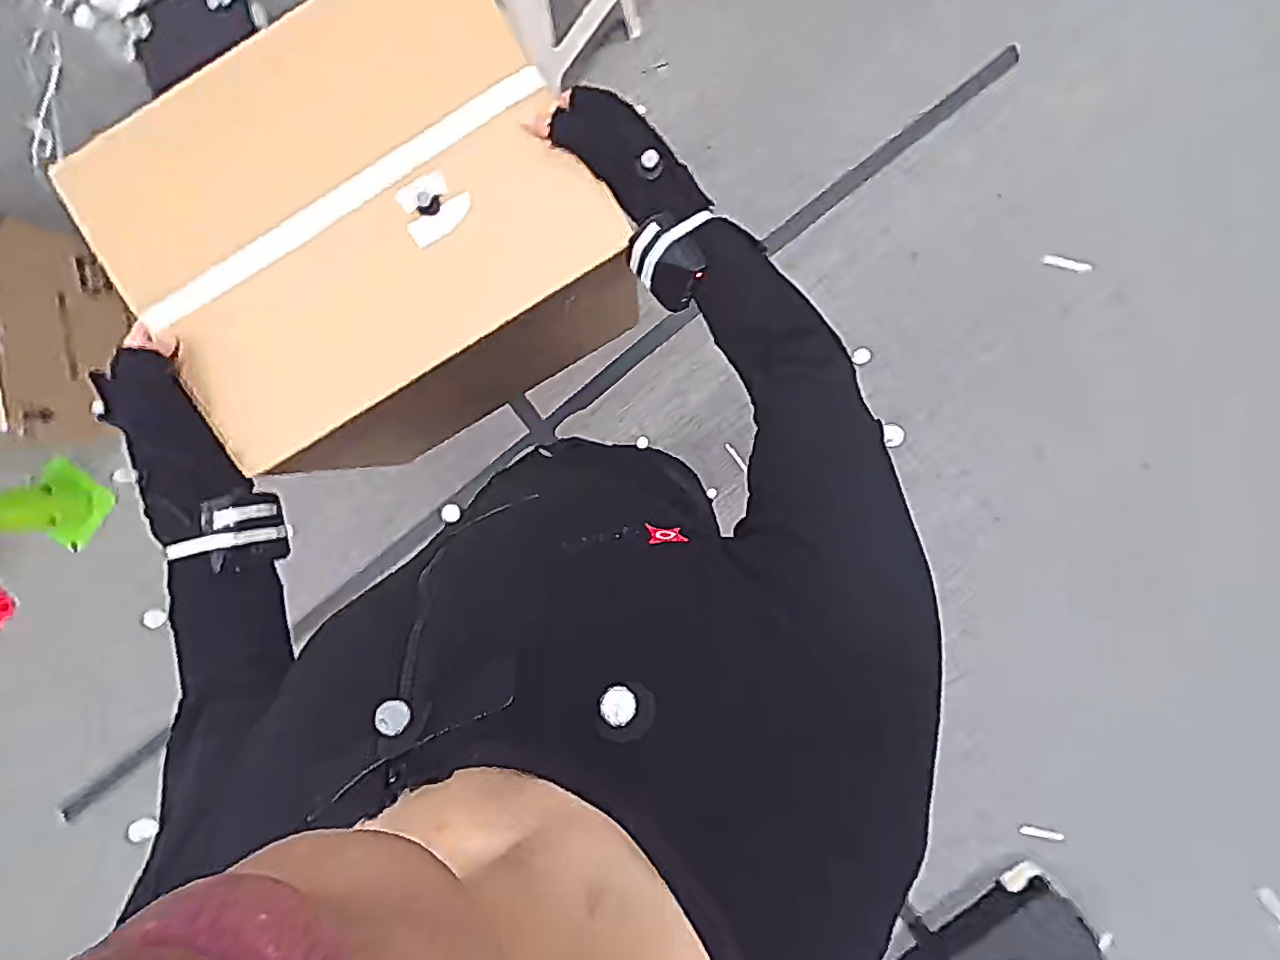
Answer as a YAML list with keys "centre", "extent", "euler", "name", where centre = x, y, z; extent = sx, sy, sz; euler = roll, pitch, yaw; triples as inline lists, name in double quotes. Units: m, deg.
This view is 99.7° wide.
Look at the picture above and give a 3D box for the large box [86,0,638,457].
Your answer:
- centre: [-0.248, -0.256, 0.625]
  extent: [0.408, 0.320, 0.320]
  euler: [-31, 93, 2]
  name: "large box"
